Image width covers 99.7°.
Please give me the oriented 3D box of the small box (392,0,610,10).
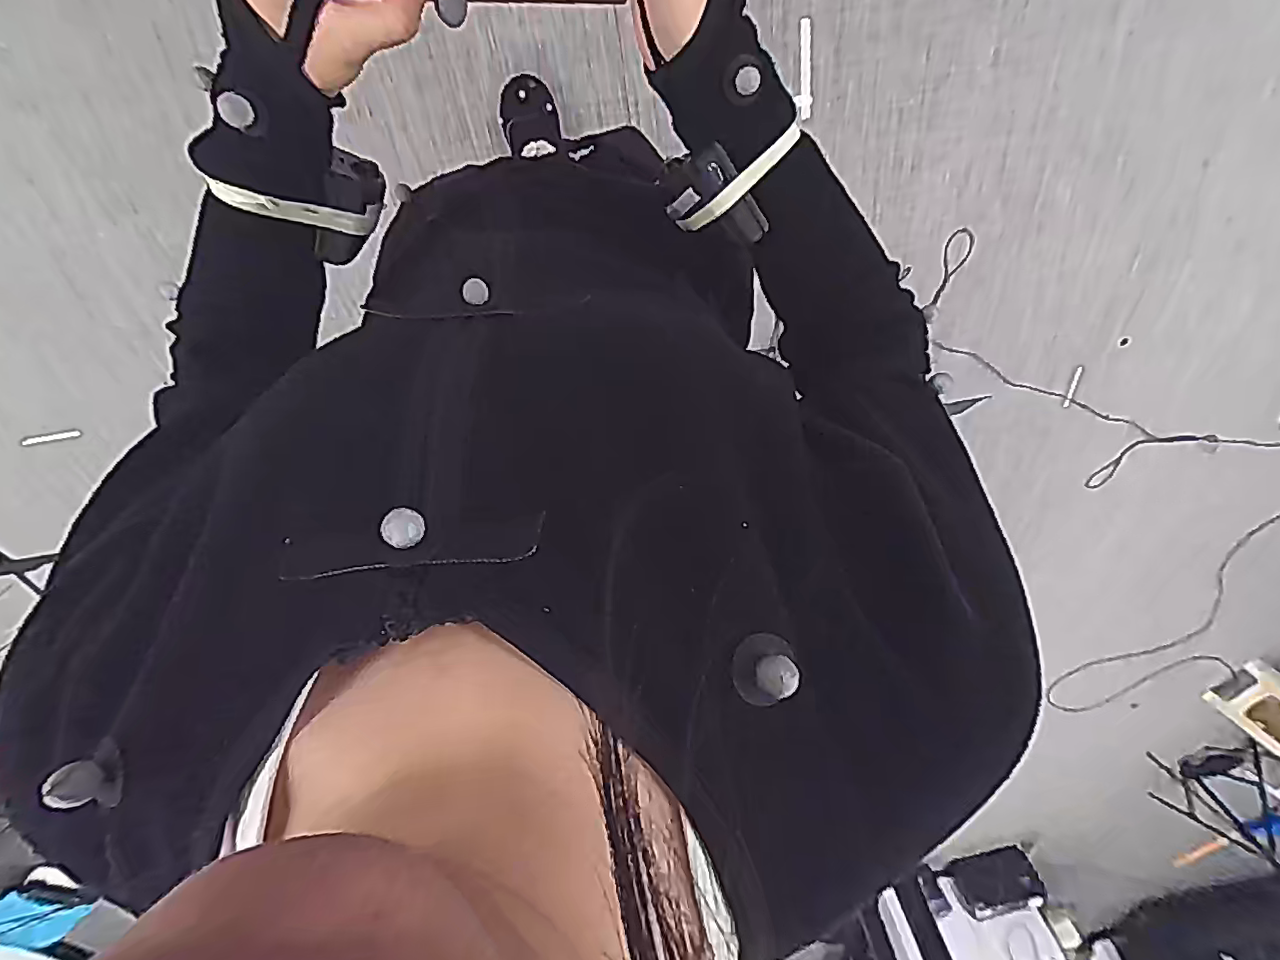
[{"bbox_3d":[-0.081,-0.310,0.194,0.168,0.176,0.179,-3,117,-5],"label":"small box"}]
